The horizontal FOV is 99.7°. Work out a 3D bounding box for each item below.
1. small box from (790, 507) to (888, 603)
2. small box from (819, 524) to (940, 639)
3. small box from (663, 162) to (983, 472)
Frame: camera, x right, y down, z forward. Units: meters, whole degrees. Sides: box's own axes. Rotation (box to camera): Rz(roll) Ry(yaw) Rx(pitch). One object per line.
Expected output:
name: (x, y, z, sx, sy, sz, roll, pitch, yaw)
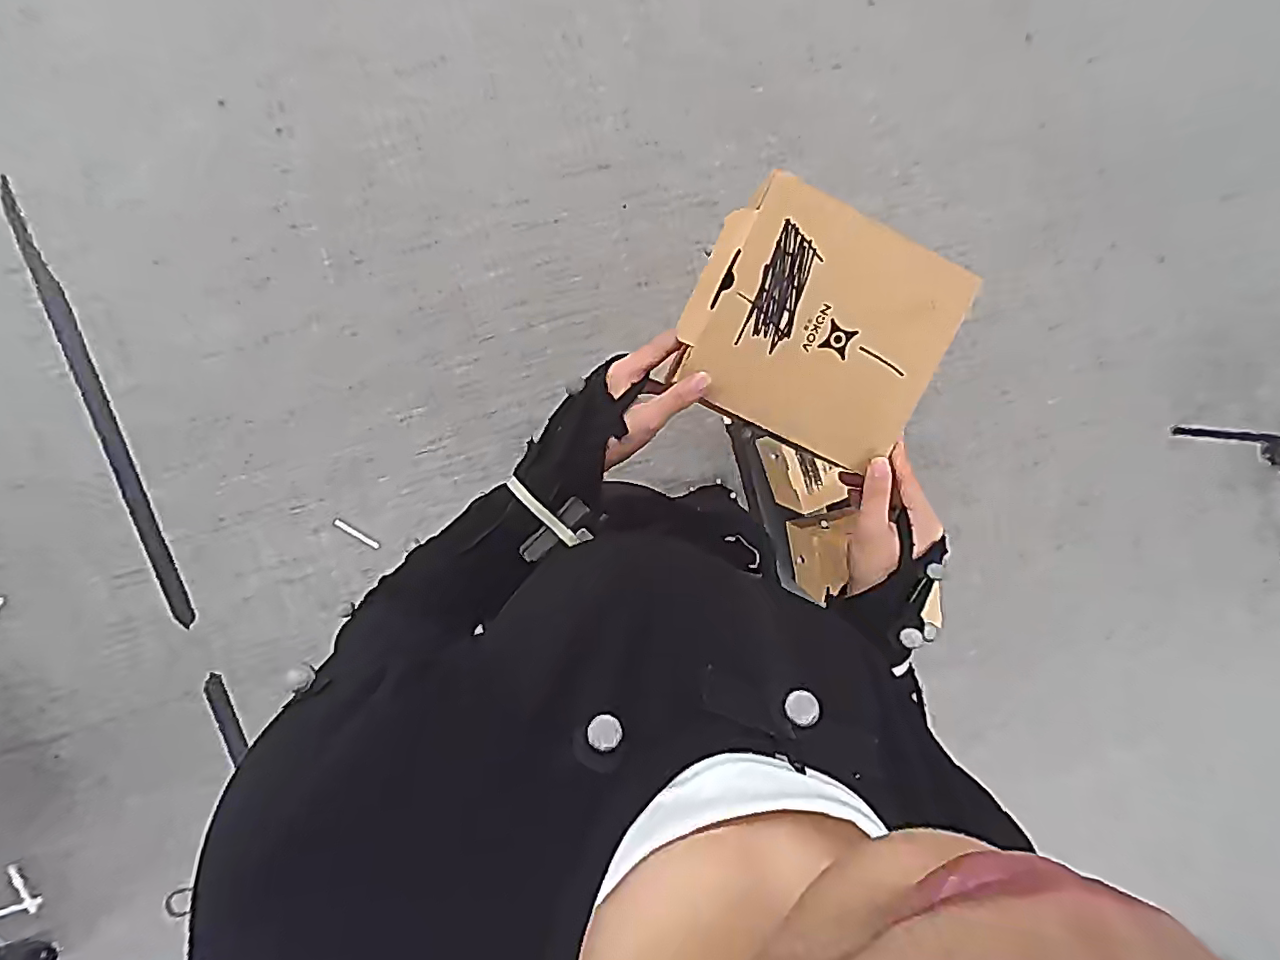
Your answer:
small box: (0.467, 0.170, 1.274, 0.179, 0.176, 0.168, -12, 99, -4)
small box: (0.487, 0.202, 1.115, 0.168, 0.176, 0.179, -9, 97, -4)
small box: (0.131, -0.125, 0.466, 0.179, 0.176, 0.168, 24, 99, -7)
